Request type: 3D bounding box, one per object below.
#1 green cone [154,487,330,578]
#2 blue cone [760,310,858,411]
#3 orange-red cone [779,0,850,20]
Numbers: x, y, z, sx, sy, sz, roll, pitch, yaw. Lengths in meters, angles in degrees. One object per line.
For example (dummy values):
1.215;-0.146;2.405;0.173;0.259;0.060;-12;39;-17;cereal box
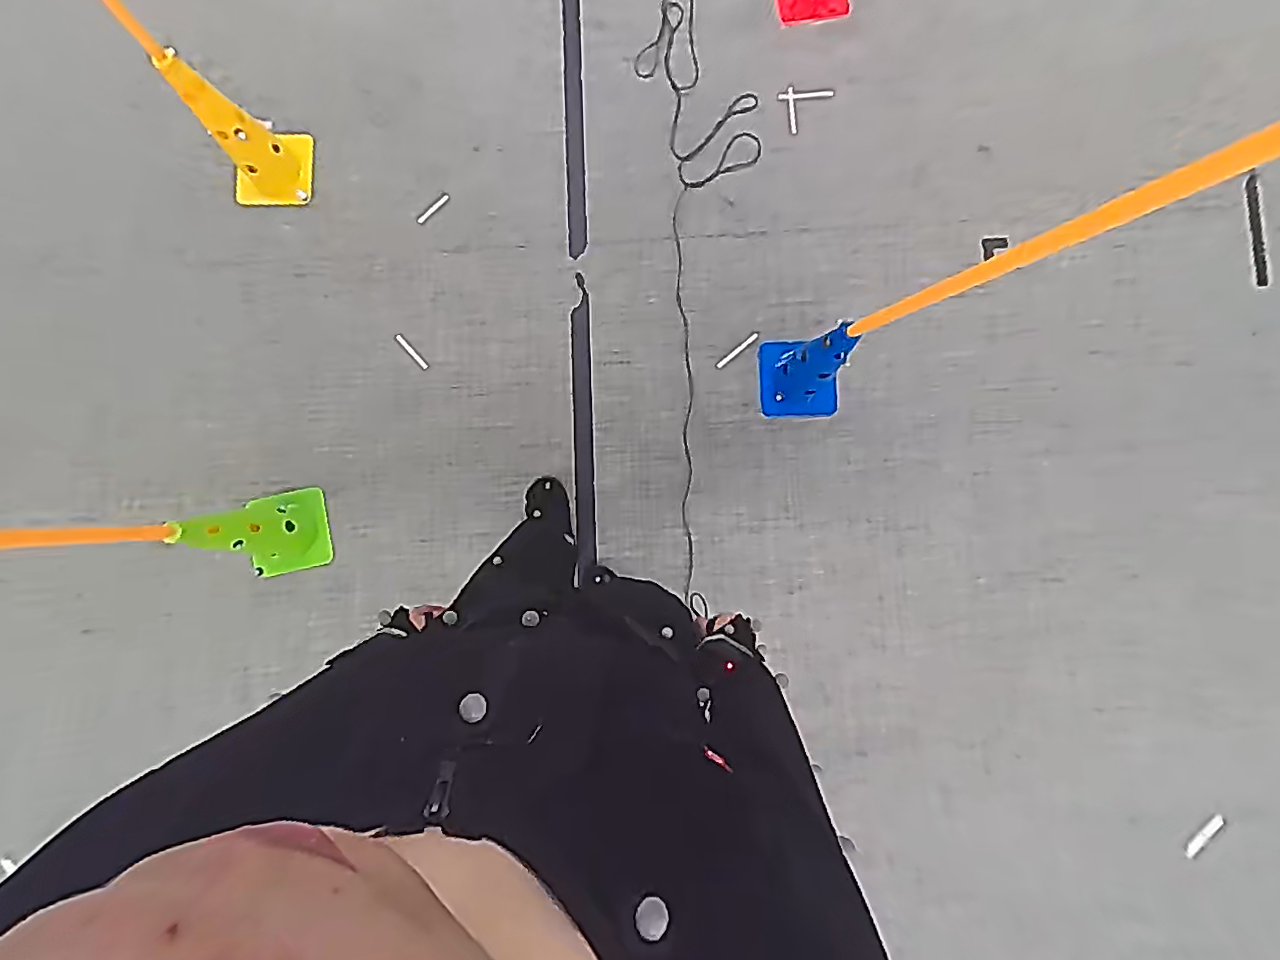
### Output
-0.889;0.112;1.191;0.200;0.368;0.202;-13;83;-2;green cone
0.413;-0.292;1.252;0.193;0.380;0.192;0;84;-1;blue cone
0.477;-1.397;1.338;0.199;0.360;0.198;-8;84;0;orange-red cone
